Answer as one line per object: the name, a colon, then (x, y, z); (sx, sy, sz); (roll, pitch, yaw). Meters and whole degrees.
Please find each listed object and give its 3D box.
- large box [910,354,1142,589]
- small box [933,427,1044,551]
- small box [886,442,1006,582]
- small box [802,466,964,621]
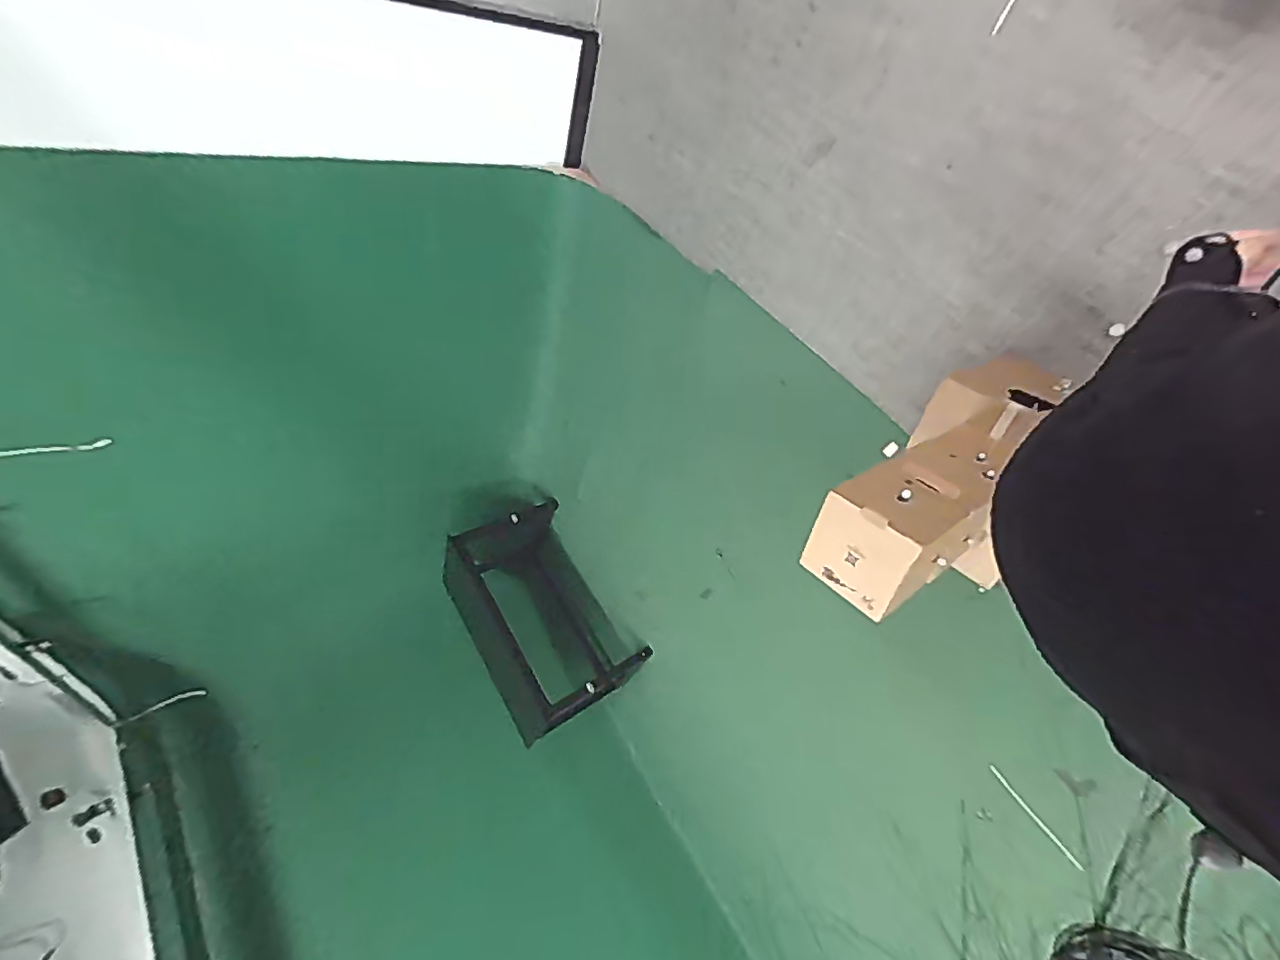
large box: (0.851, -0.034, 1.274); (0.320, 0.320, 0.408); (42, 138, 37)
small box: (0.674, 0.009, 1.106); (0.179, 0.176, 0.168); (41, 136, 36)
small box: (0.546, 0.051, 1.014); (0.168, 0.176, 0.179); (40, 136, 36)
small box: (0.416, 0.098, 0.924); (0.168, 0.176, 0.179); (41, 135, 36)
